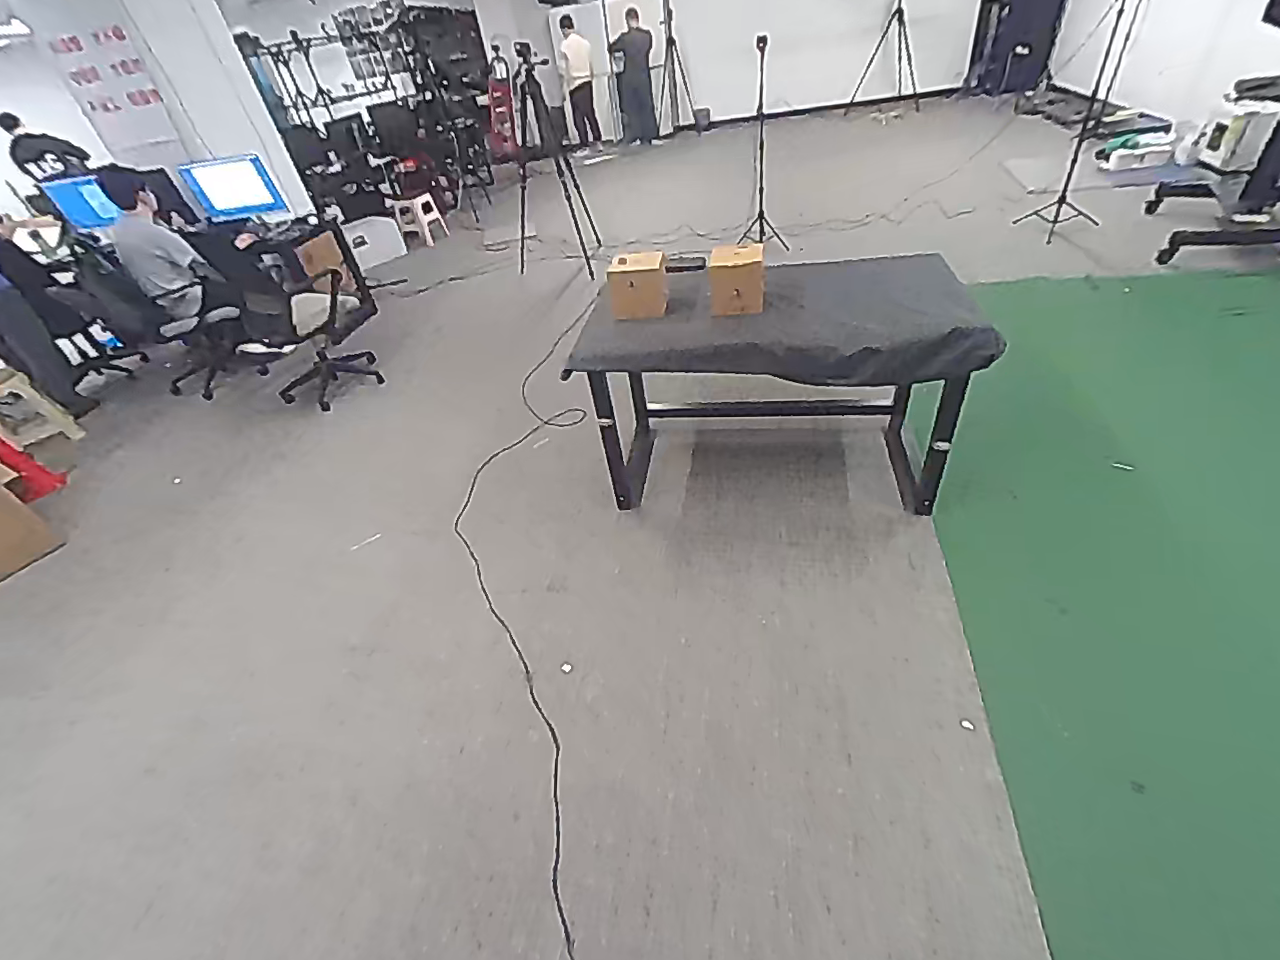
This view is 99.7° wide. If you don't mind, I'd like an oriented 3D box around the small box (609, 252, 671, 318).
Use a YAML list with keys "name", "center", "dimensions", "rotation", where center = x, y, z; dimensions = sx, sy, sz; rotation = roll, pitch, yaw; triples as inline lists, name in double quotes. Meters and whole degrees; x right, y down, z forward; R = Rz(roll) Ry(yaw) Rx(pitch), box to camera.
- name: "small box"
  center: [0.005, -0.665, 1.855]
  dimensions: [0.179, 0.176, 0.168]
  rotation: [0, 41, 10]

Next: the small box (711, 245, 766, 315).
- name: "small box"
  center: [0.327, -0.653, 1.777]
  dimensions: [0.168, 0.176, 0.179]
  rotation: [1, 41, 13]
